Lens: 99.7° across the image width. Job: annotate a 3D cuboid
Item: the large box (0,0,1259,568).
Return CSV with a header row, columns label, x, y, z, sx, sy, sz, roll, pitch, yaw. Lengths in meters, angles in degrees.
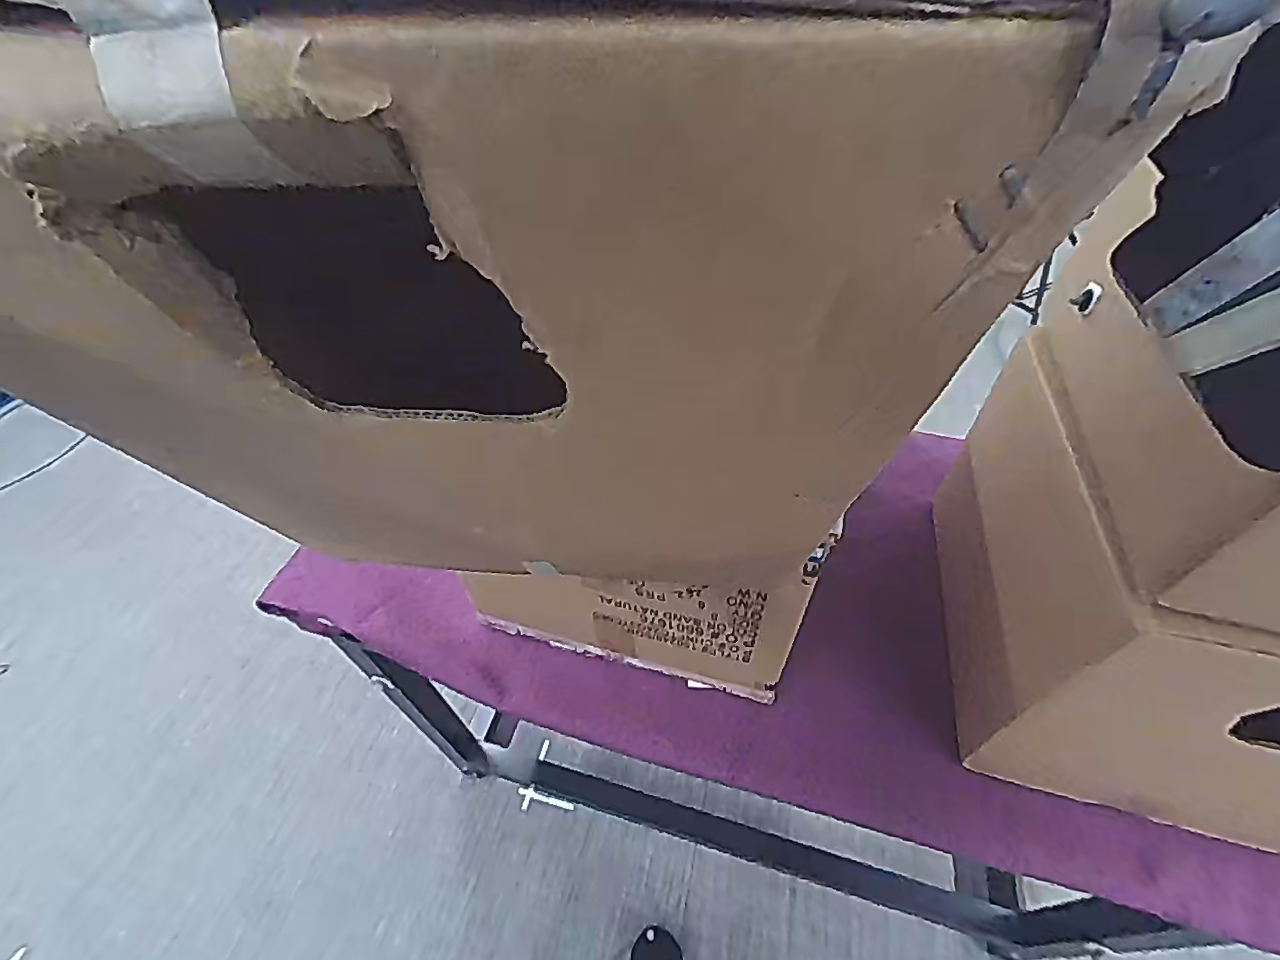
label,x,y,z,sx,sy,sz,roll,pitch,yaw
large box,-0.040,-0.189,0.308,0.320,0.320,0.408,2,66,5
